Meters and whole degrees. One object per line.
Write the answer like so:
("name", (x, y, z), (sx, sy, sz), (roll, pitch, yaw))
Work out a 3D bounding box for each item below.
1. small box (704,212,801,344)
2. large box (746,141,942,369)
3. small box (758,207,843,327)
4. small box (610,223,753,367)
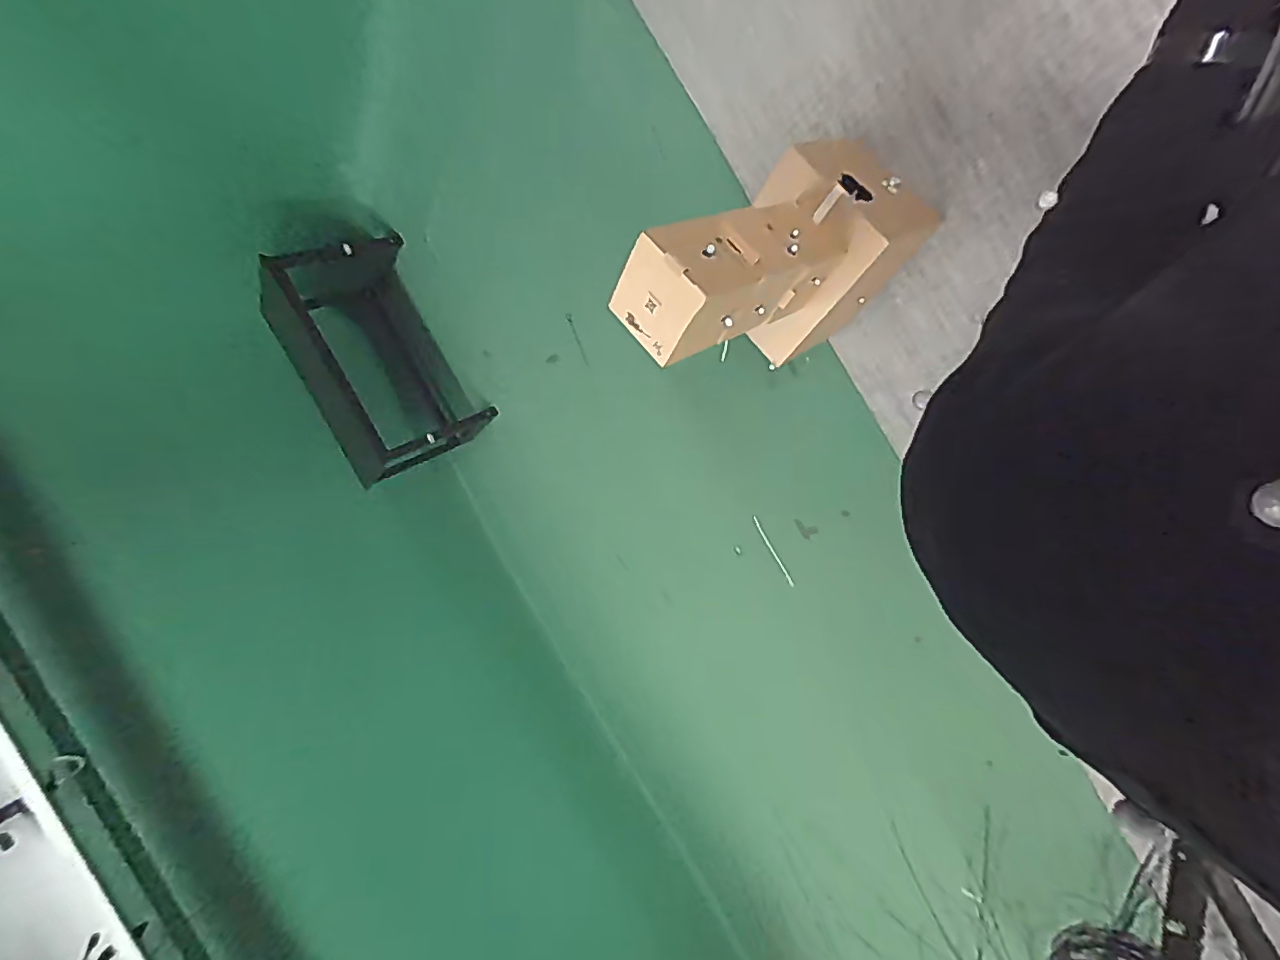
("small box", (0.196, -0.411, 1.090), (0.168, 0.176, 0.179), (50, 143, 11))
("large box", (0.453, -0.564, 1.371), (0.320, 0.320, 0.408), (52, 144, 12))
("small box", (0.309, -0.474, 1.190), (0.179, 0.176, 0.168), (51, 142, 10))
("small box", (0.081, -0.344, 0.994), (0.168, 0.176, 0.179), (51, 141, 11))
